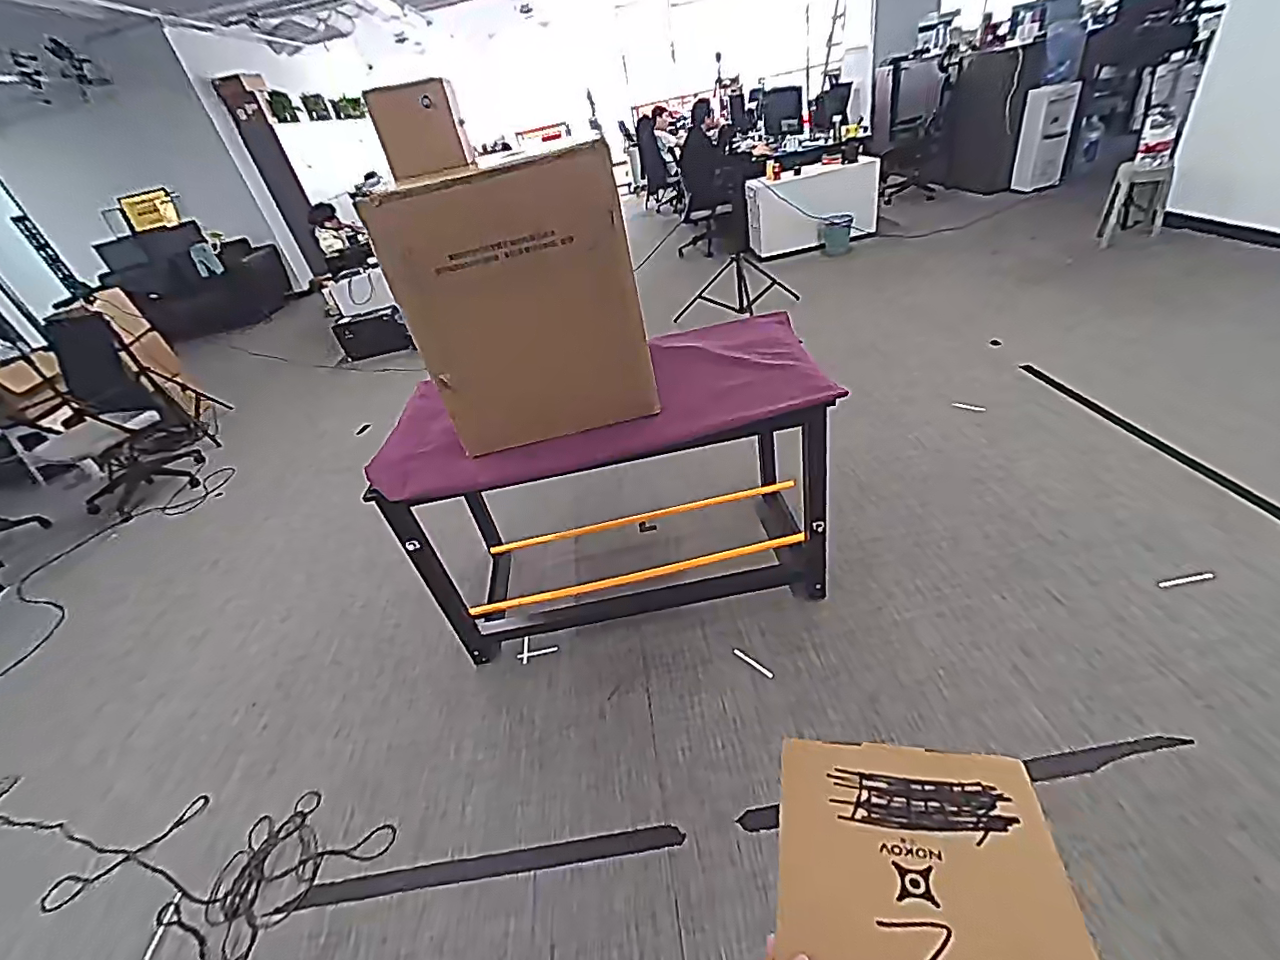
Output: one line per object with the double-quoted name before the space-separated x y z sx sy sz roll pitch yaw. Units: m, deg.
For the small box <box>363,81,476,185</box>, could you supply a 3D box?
"small box" -0.494 -0.797 1.244 0.179 0.176 0.168 -13 35 -1
